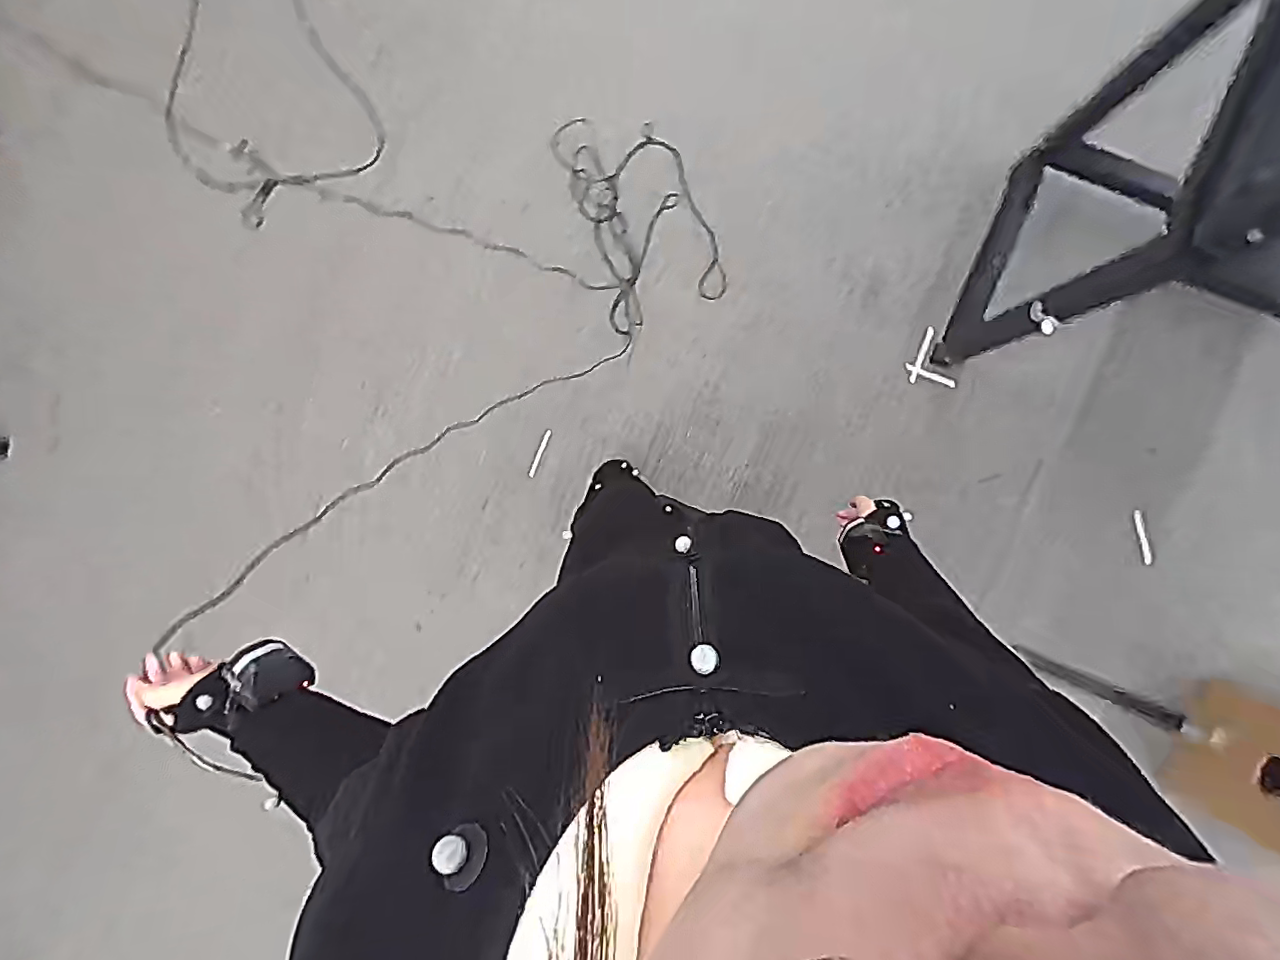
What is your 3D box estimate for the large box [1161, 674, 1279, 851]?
[{"bbox_3d":[1.605,0.720,1.274,0.408,0.320,0.320,23,93,2],"label":"large box"}]
